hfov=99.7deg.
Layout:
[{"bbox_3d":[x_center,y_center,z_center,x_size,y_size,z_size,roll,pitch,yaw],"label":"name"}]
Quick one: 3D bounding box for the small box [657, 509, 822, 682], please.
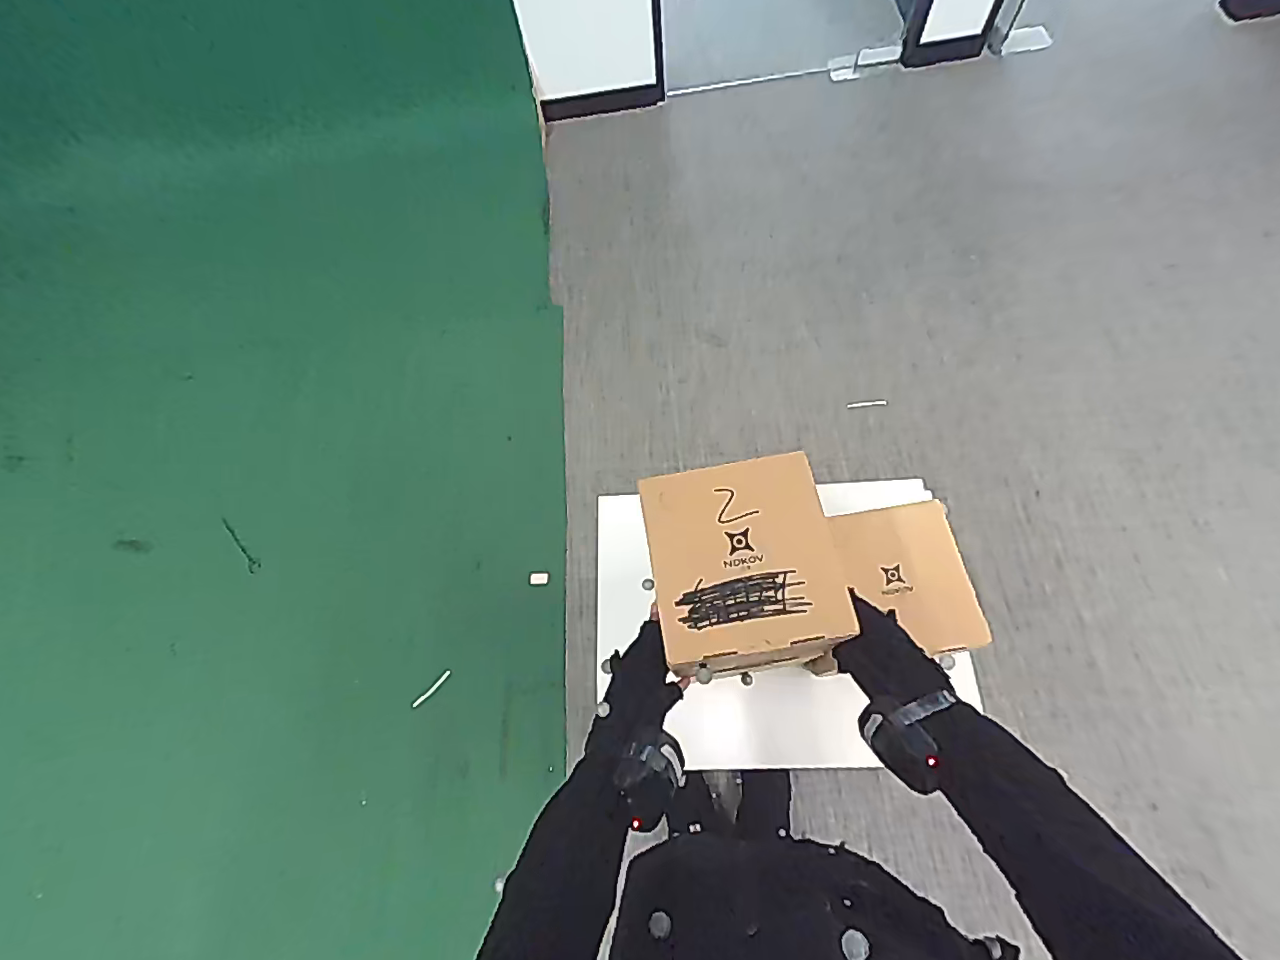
[{"bbox_3d":[0.119,0.159,0.710,0.168,0.176,0.179,-11,66,2],"label":"small box"}]
